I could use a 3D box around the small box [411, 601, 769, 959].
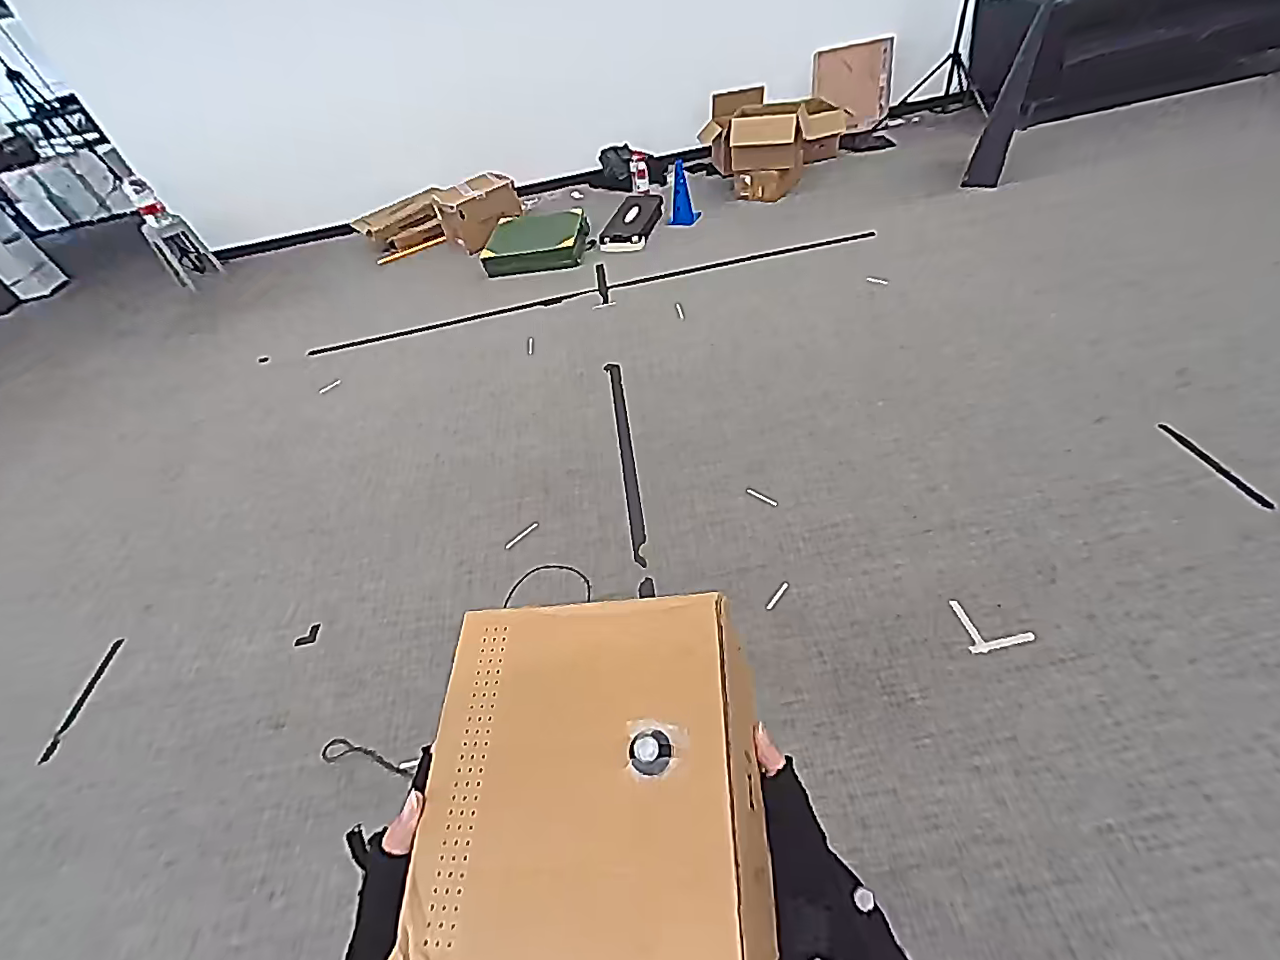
[{"bbox_3d":[-0.016,0.197,0.349,0.176,0.168,0.179,-8,53,14],"label":"small box"}]
